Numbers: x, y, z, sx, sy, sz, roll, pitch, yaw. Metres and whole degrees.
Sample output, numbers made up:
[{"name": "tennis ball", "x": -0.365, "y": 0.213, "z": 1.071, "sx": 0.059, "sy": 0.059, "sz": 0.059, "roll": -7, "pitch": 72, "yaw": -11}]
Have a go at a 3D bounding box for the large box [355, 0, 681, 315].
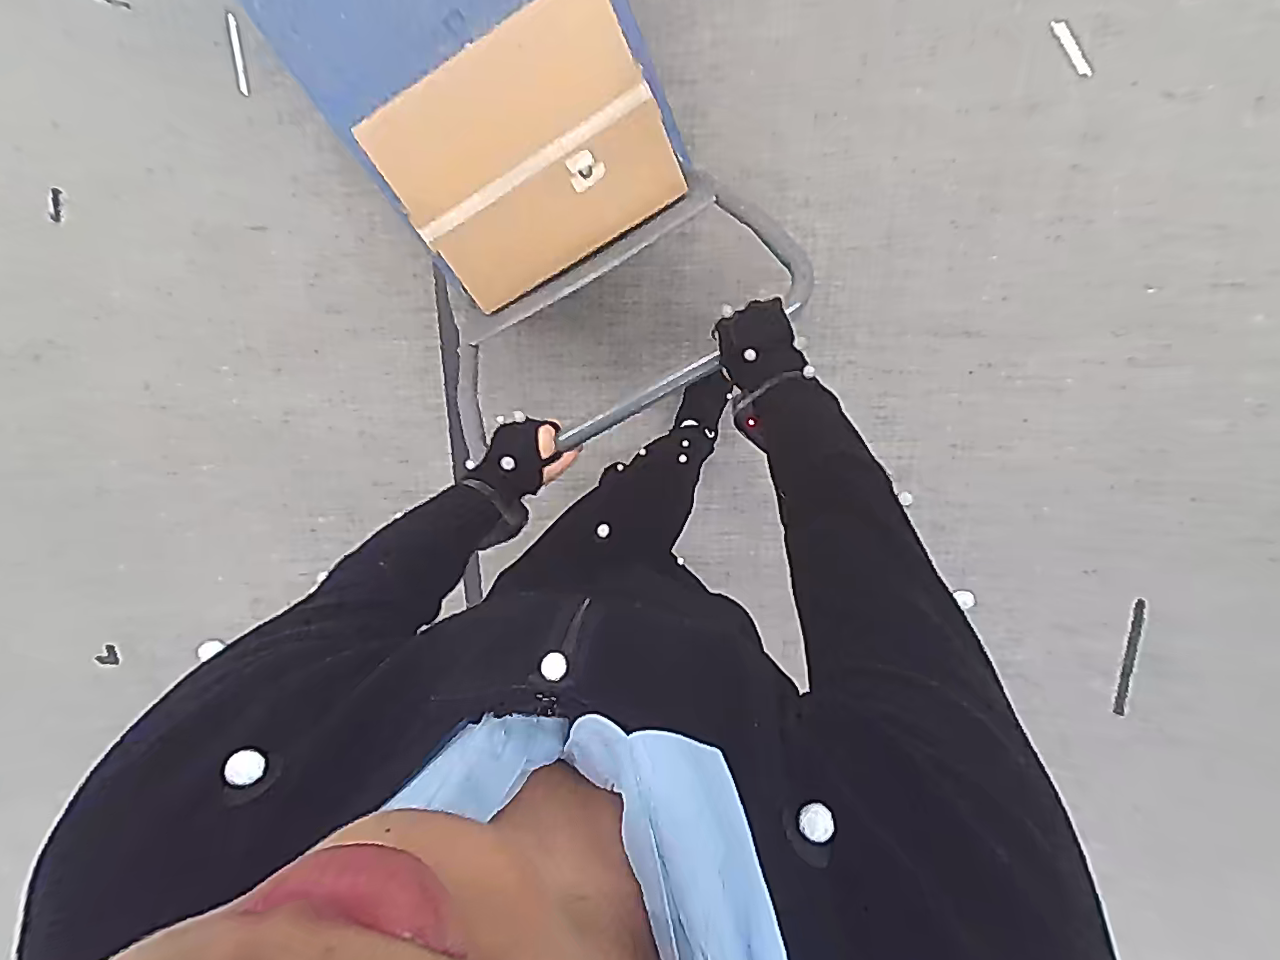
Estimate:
[{"name": "large box", "x": -0.199, "y": -0.565, "z": 0.947, "sx": 0.408, "sy": 0.320, "sz": 0.320, "roll": -29, "pitch": 127, "yaw": 7}]
